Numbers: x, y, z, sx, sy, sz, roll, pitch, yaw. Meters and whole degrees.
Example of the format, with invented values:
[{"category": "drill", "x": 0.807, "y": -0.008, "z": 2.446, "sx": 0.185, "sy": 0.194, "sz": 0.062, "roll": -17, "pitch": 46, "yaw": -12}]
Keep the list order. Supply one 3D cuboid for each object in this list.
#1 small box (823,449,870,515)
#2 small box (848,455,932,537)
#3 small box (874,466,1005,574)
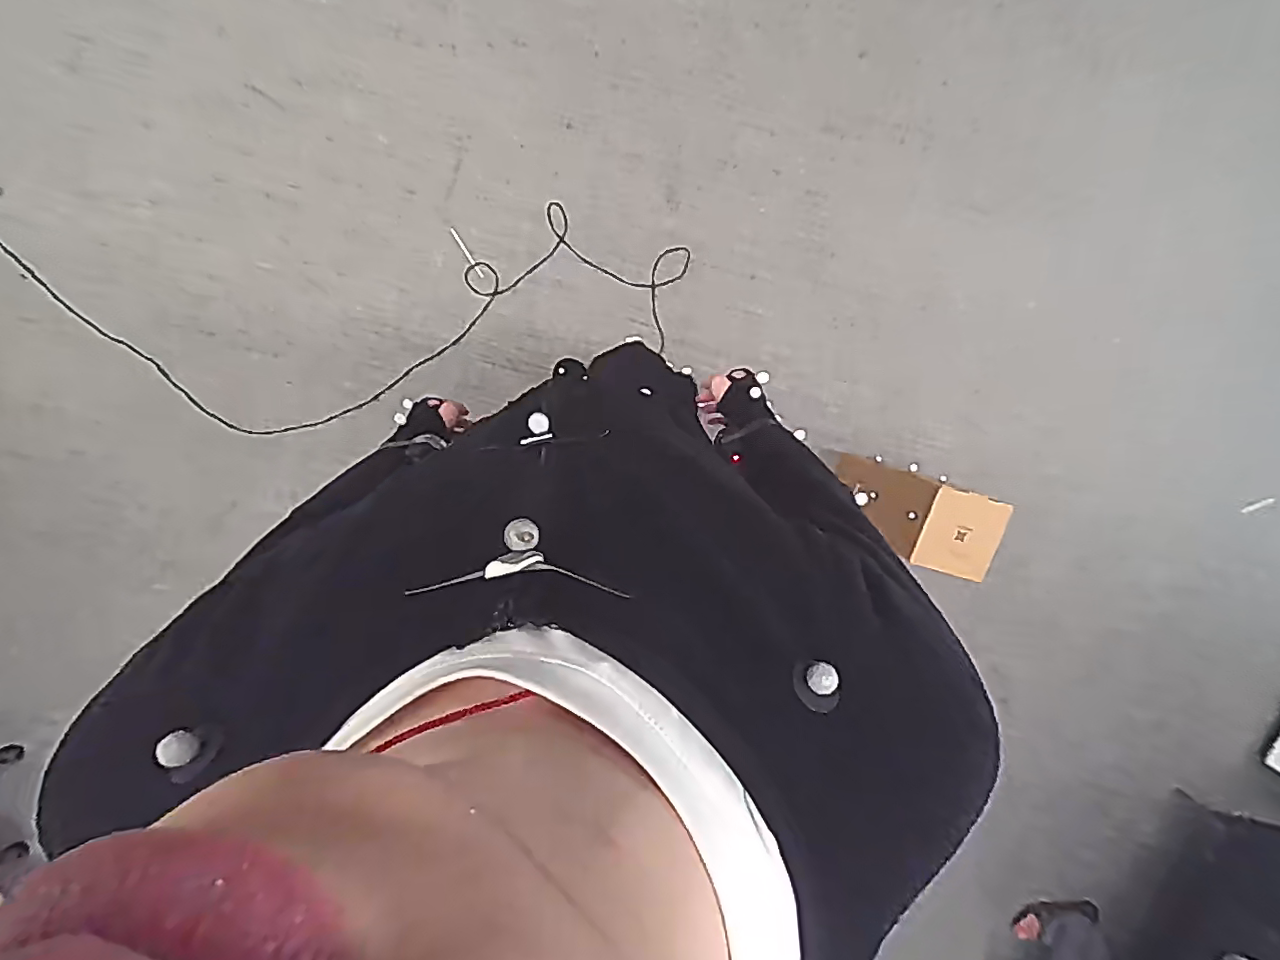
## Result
[{"category": "small box", "x": 0.644, "y": 0.019, "z": 1.522, "sx": 0.179, "sy": 0.176, "sz": 0.168, "roll": 16, "pitch": 103, "yaw": -5}, {"category": "small box", "x": 0.650, "y": 0.050, "z": 1.360, "sx": 0.168, "sy": 0.176, "sz": 0.179, "roll": 14, "pitch": 102, "yaw": -5}, {"category": "small box", "x": 0.651, "y": 0.081, "z": 1.202, "sx": 0.168, "sy": 0.176, "sz": 0.179, "roll": 15, "pitch": 104, "yaw": -5}]
